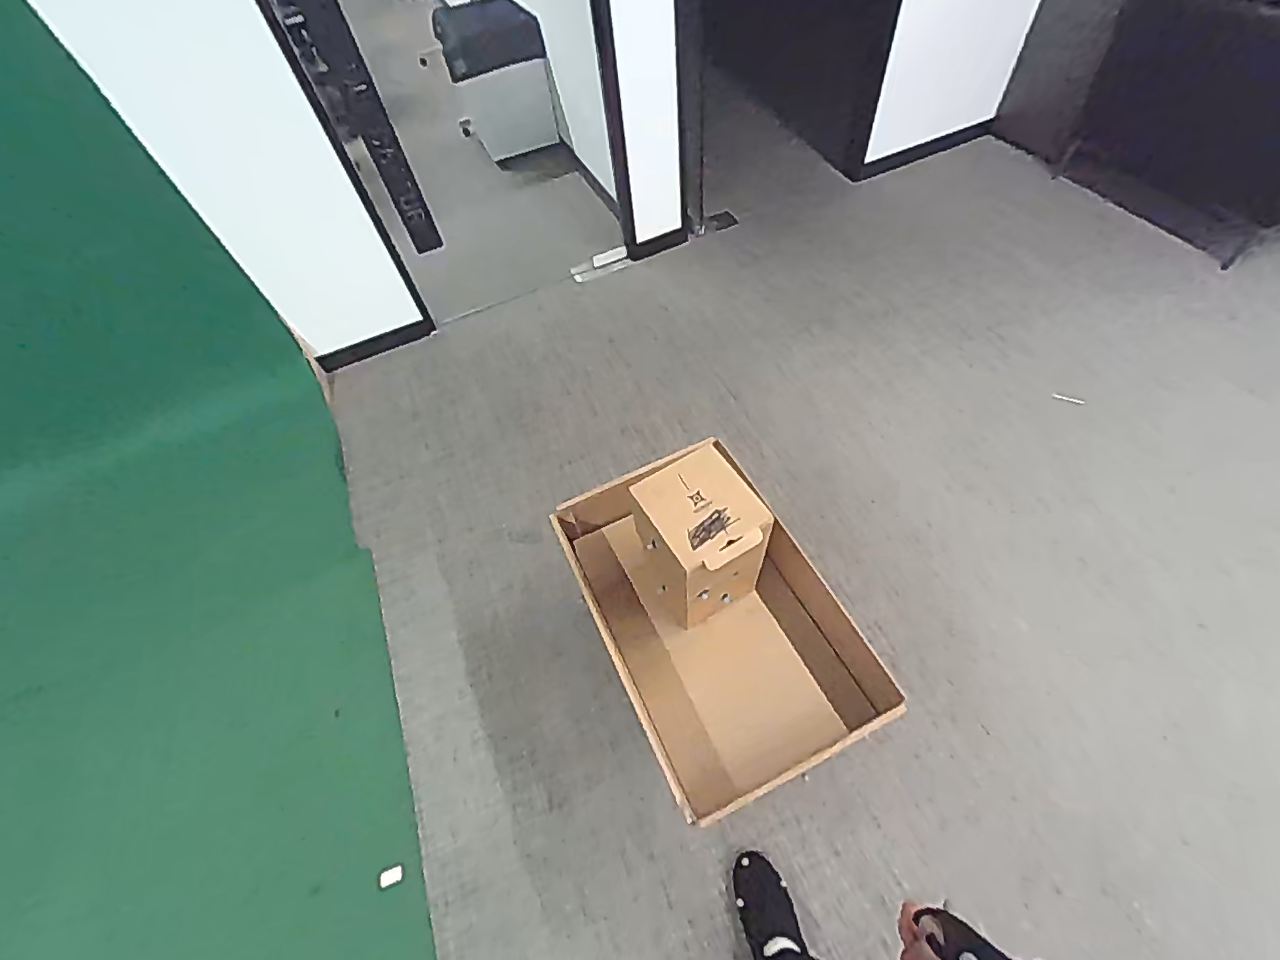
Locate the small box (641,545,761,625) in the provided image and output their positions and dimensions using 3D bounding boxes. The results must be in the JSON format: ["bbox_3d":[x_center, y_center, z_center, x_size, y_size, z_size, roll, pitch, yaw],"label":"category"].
[{"bbox_3d":[0.114,0.167,1.066,0.168,0.176,0.179,-26,61,-12],"label":"small box"}]

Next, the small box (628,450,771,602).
[{"bbox_3d":[0.099,0.088,0.923,0.168,0.176,0.179,-28,59,-13],"label":"small box"}]
